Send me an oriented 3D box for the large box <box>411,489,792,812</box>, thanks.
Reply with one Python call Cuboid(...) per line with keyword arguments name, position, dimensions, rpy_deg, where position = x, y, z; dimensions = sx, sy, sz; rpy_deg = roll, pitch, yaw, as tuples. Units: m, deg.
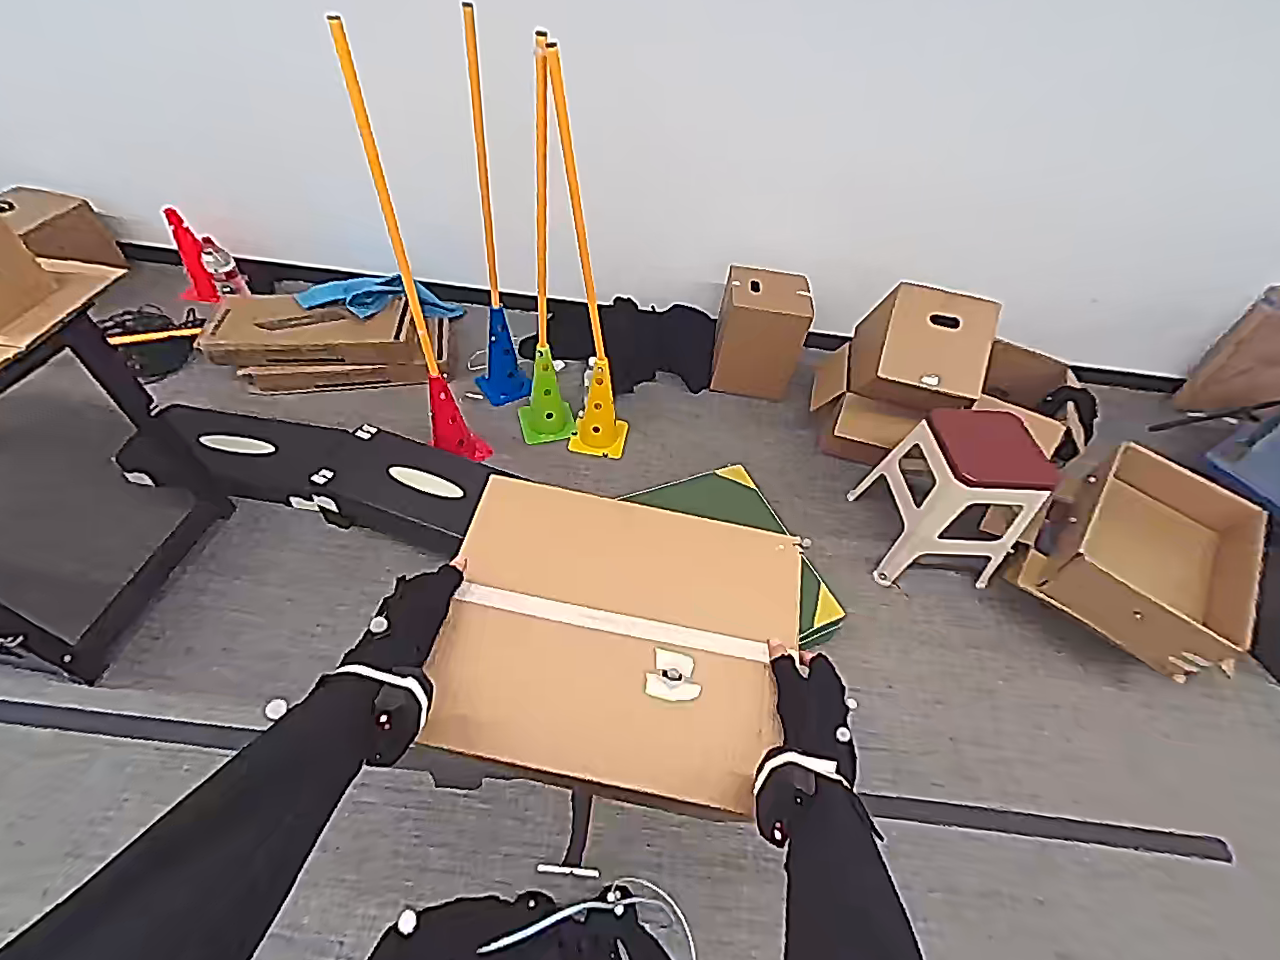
Cuboid(name="large box", position=(-0.035, 0.250, 0.756), dimensions=(0.408, 0.320, 0.320), rpy_deg=(12, 58, 0))
